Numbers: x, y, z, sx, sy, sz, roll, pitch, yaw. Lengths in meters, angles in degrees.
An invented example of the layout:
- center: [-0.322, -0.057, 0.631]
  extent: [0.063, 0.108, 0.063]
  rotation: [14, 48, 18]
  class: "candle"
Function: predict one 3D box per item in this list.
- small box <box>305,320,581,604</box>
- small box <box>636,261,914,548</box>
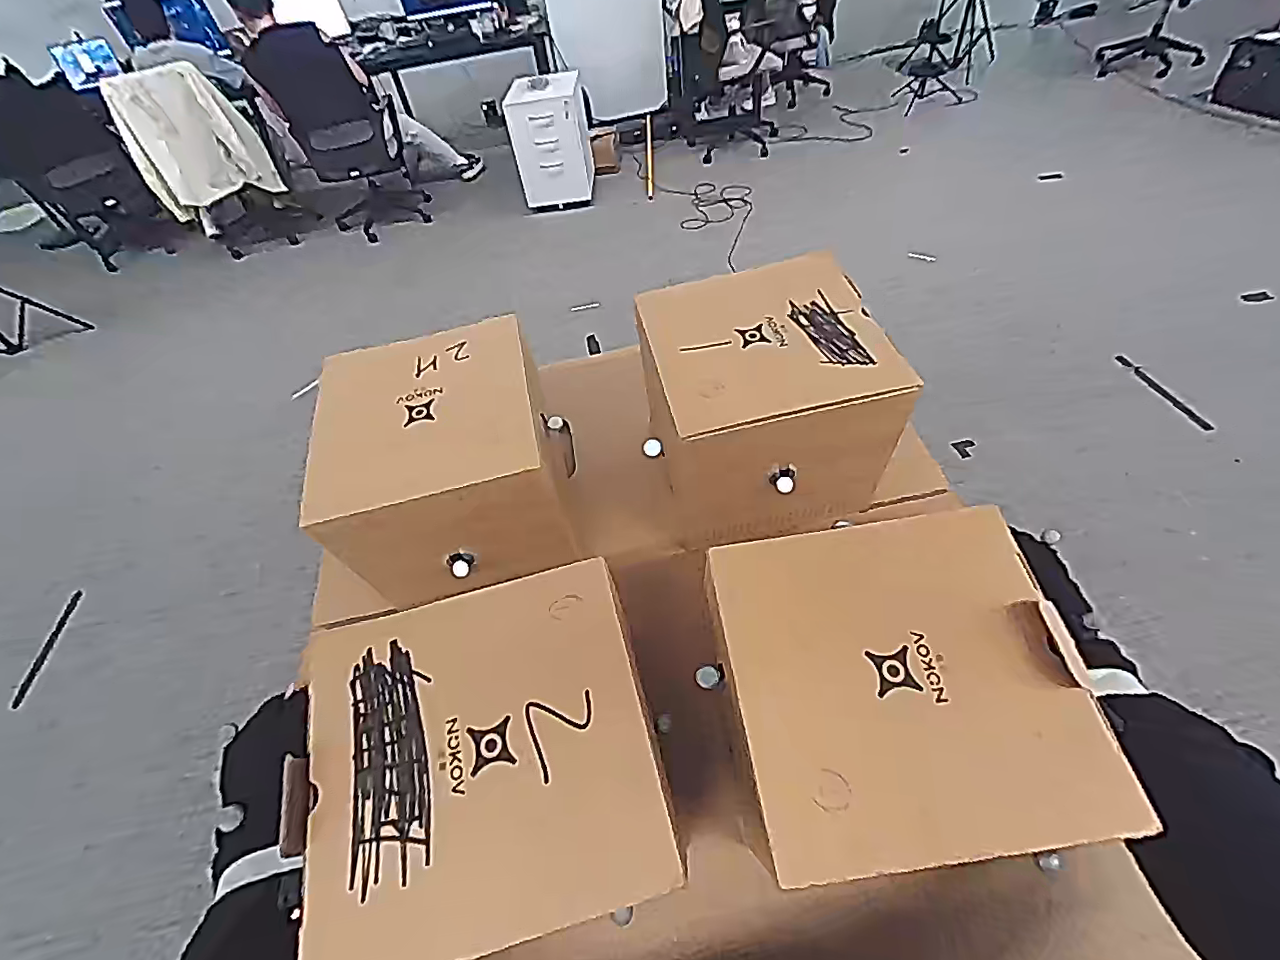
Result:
- center: [-0.156, -0.006, 0.479]
  extent: [0.168, 0.176, 0.179]
  rotation: [-13, 54, -3]
  class: "small box"
- center: [0.102, -0.060, 0.483]
  extent: [0.179, 0.176, 0.168]
  rotation: [-13, 55, -1]
  class: "small box"
